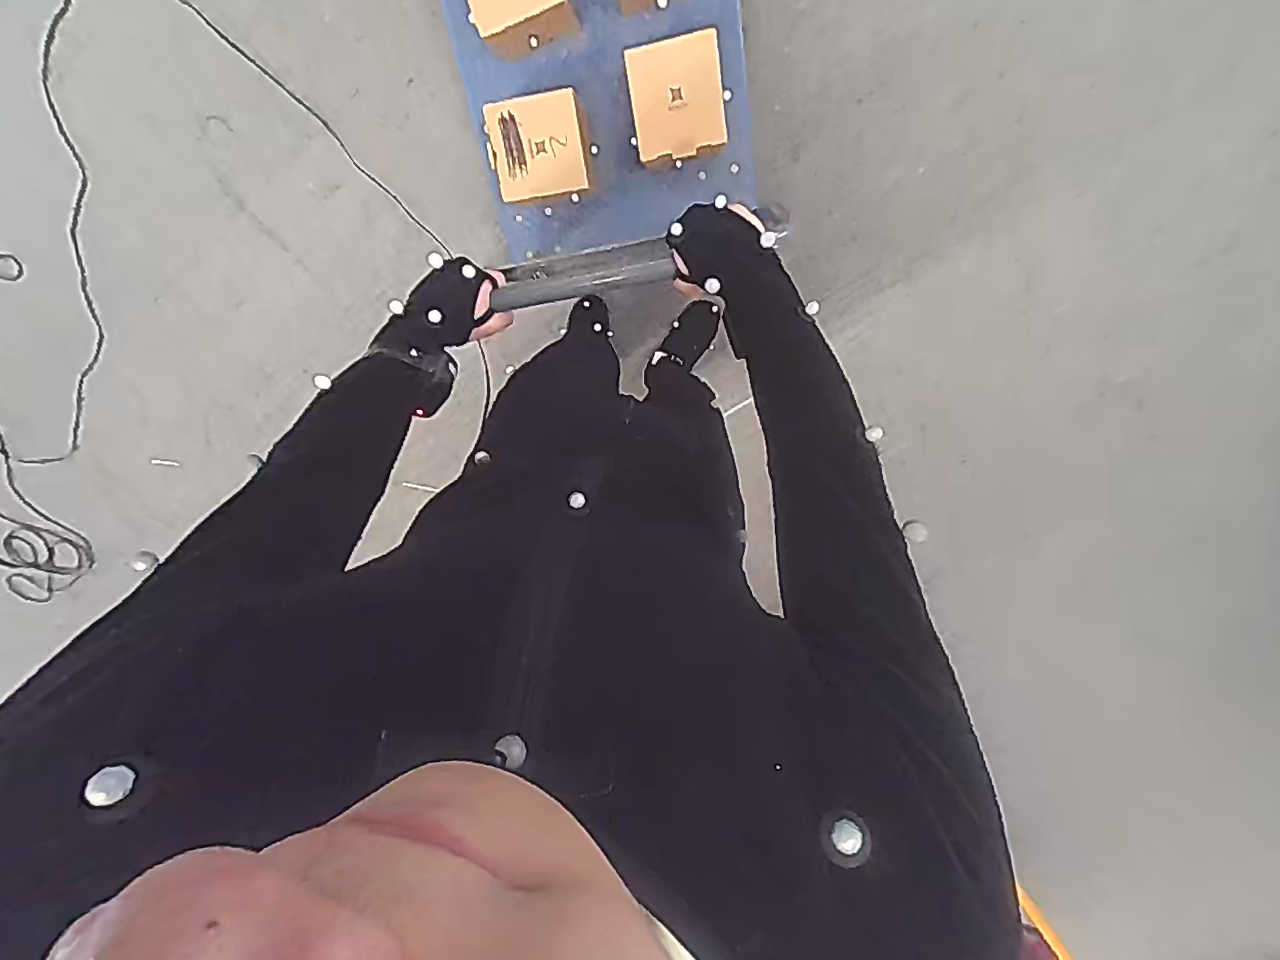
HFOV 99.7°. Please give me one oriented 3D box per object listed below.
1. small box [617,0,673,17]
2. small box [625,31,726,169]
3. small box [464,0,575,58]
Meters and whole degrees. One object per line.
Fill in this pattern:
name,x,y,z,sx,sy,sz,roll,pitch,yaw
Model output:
small box,0.012,-0.965,0.944,0.168,0.176,0.179,-13,114,11
small box,0.068,-0.727,1.054,0.168,0.176,0.179,-9,115,7
small box,-0.231,-0.910,0.988,0.168,0.176,0.179,-15,113,10
